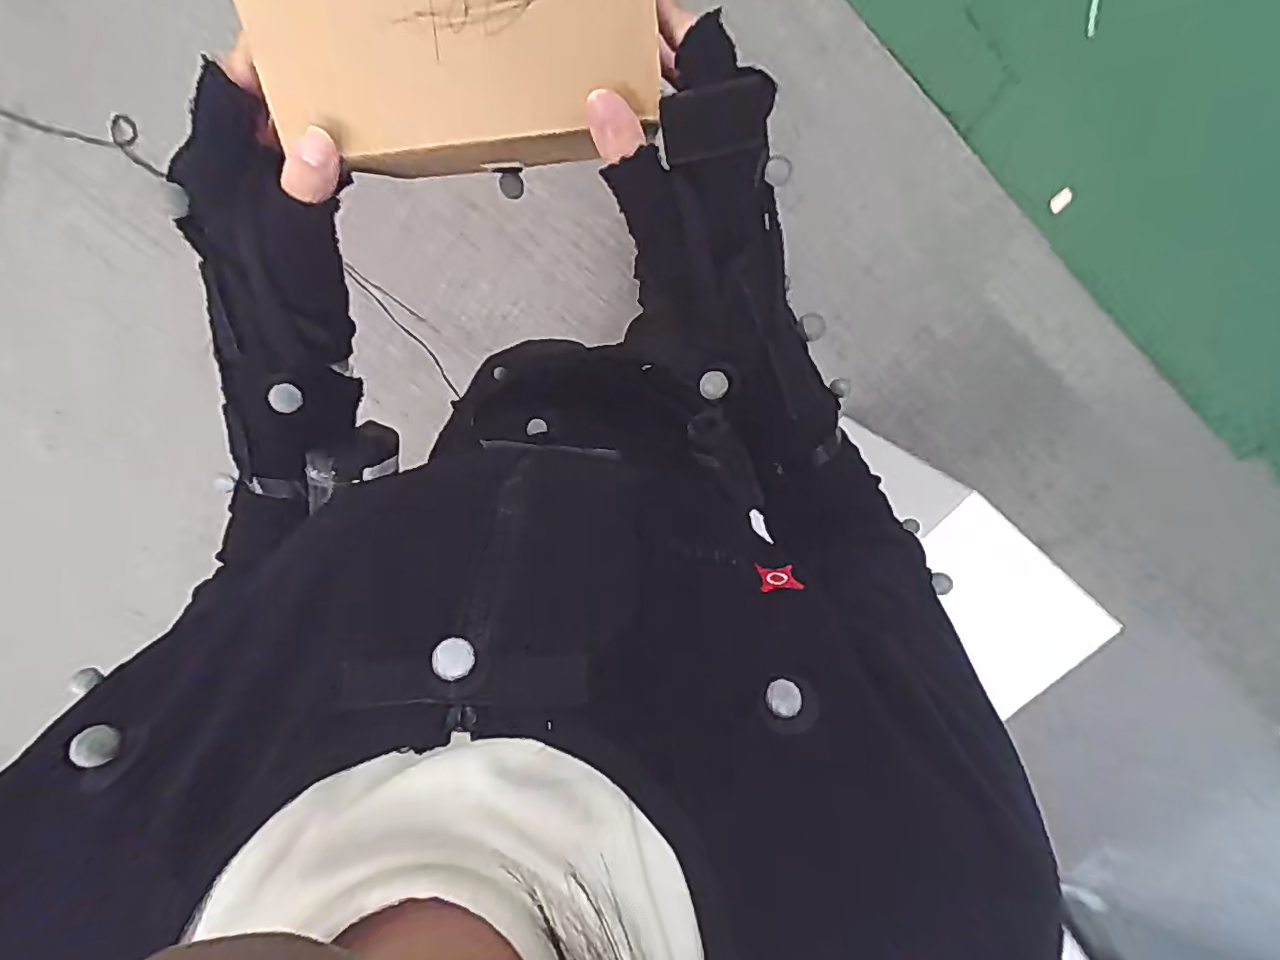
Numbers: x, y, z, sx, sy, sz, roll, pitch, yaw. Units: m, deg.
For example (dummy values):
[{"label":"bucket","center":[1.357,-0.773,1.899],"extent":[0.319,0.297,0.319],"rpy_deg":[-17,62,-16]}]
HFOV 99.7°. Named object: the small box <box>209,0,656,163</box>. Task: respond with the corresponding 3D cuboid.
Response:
[{"label":"small box","center":[-0.086,-0.263,0.251],"extent":[0.168,0.176,0.179],"rpy_deg":[-6,116,2]}]
